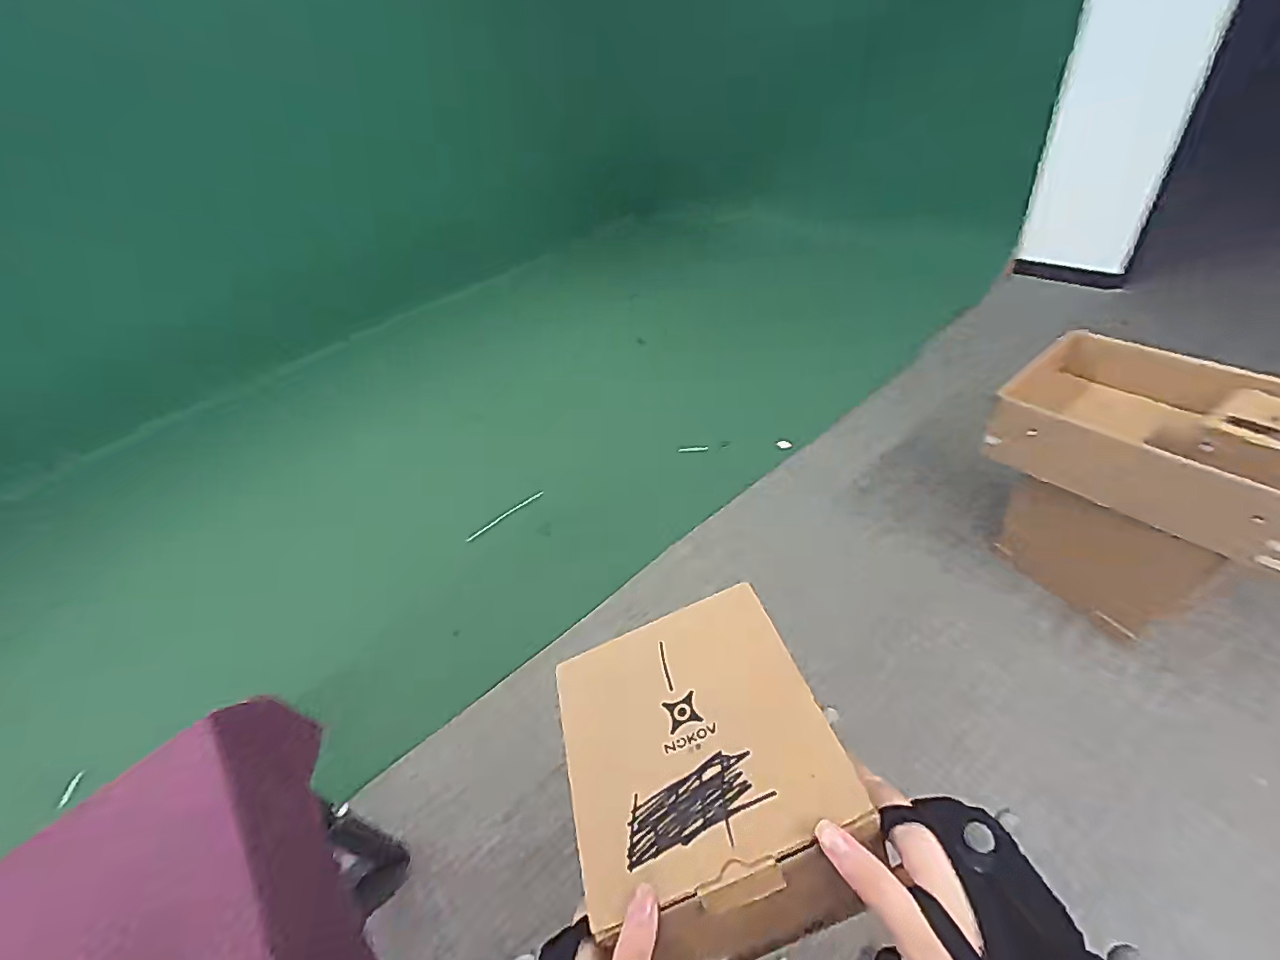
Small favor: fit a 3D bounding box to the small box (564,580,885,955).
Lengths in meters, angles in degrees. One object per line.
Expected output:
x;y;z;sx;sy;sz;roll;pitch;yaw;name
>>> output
0.060;0.215;0.404;0.168;0.176;0.179;-24;36;2;small box
